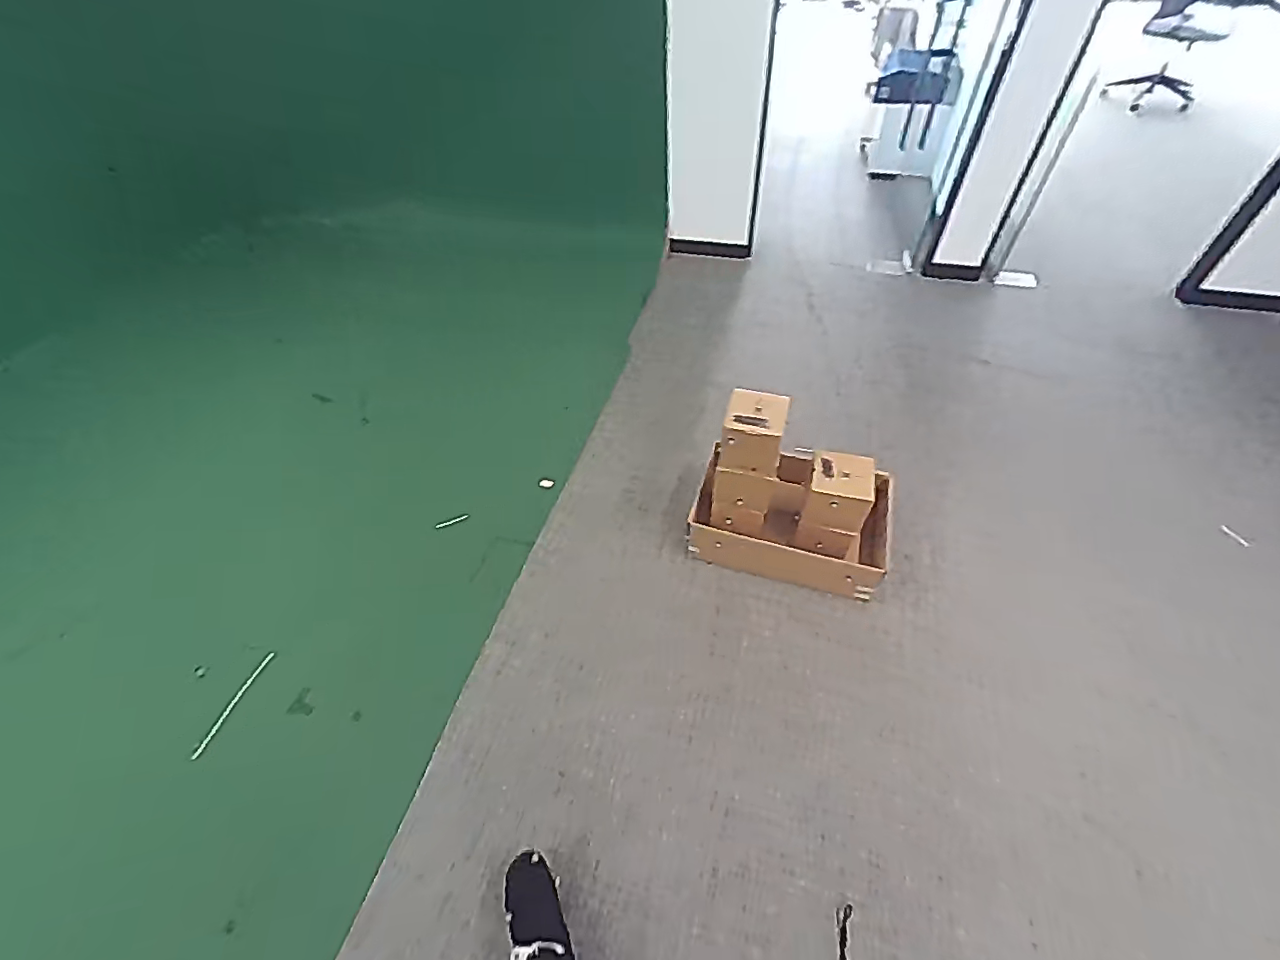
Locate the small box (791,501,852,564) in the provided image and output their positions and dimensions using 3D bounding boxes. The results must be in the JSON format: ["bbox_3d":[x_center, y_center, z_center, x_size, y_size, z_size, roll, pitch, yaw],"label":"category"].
[{"bbox_3d":[0.599,0.151,1.770,0.168,0.176,0.179,14,52,14],"label":"small box"}]

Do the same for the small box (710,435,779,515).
[{"bbox_3d":[0.327,-0.012,1.706,0.179,0.176,0.168,13,51,12],"label":"small box"}]

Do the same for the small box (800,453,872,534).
[{"bbox_3d":[0.591,0.044,1.644,0.179,0.176,0.168,10,52,11],"label":"small box"}]

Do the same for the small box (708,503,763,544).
[{"bbox_3d":[0.331,0.091,1.834,0.168,0.176,0.179,13,51,13],"label":"small box"}]
